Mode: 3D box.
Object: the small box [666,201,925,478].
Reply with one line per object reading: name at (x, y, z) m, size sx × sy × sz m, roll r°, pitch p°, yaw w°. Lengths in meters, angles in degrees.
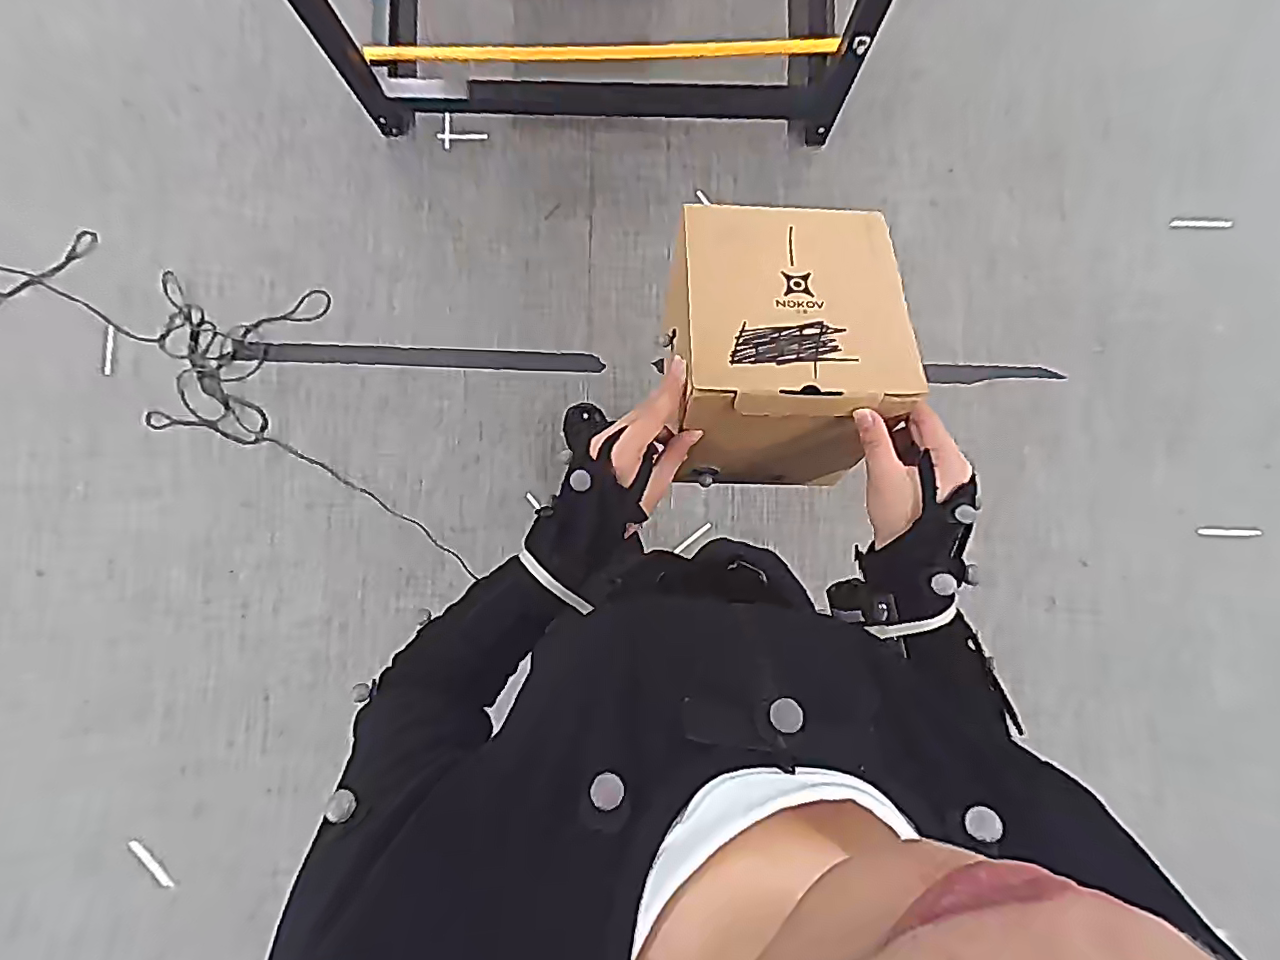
small box at (0.113, -0.109, 0.473) m, size 0.168 × 0.176 × 0.179 m, roll 1°, pitch 67°, yaw -3°
